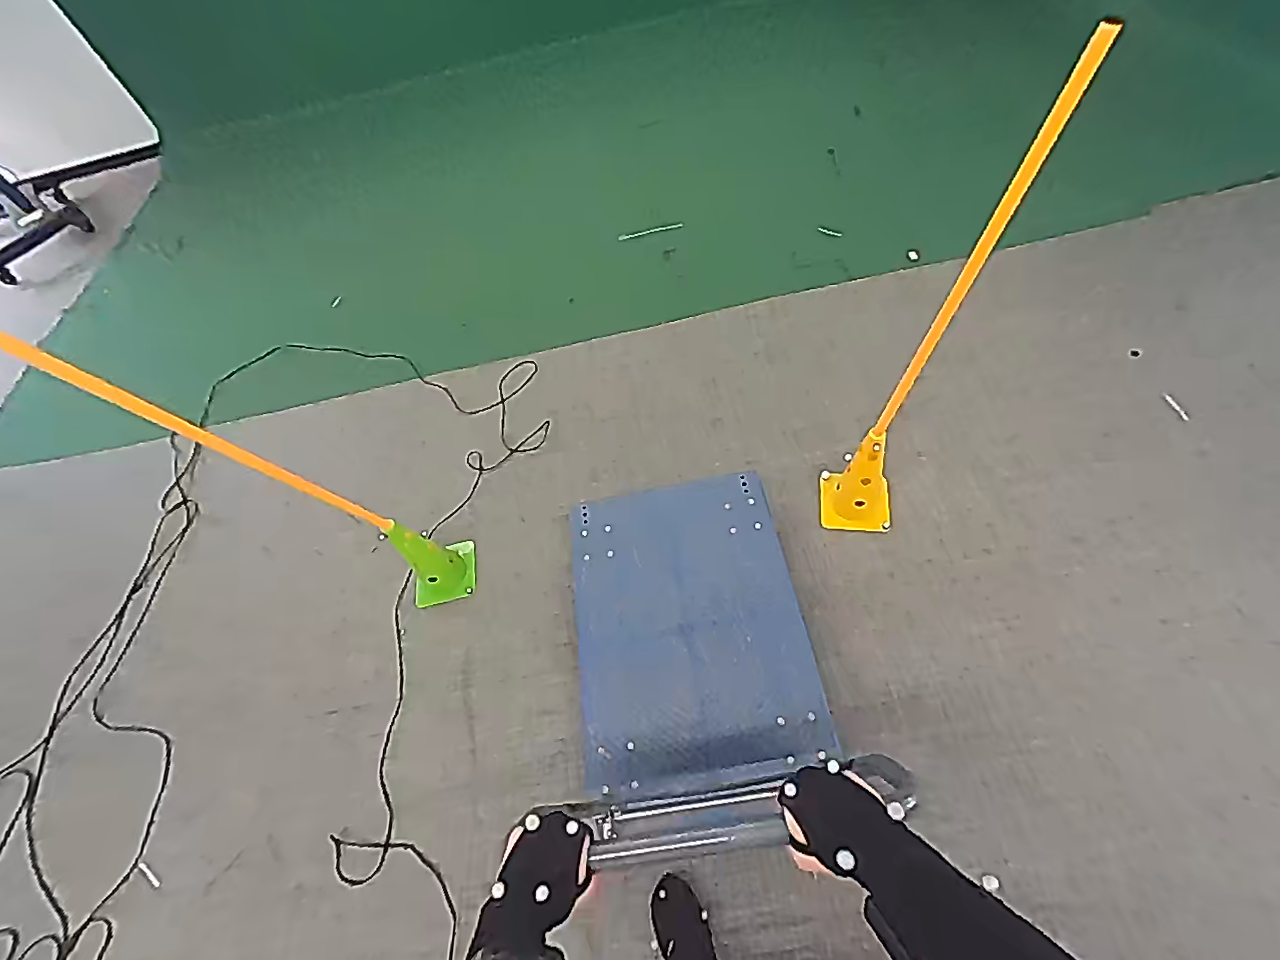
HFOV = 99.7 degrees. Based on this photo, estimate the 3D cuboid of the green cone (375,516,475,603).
[{"bbox_3d":[-0.676,0.205,1.641,0.202,0.368,0.200,-16,56,3],"label":"green cone"}]
